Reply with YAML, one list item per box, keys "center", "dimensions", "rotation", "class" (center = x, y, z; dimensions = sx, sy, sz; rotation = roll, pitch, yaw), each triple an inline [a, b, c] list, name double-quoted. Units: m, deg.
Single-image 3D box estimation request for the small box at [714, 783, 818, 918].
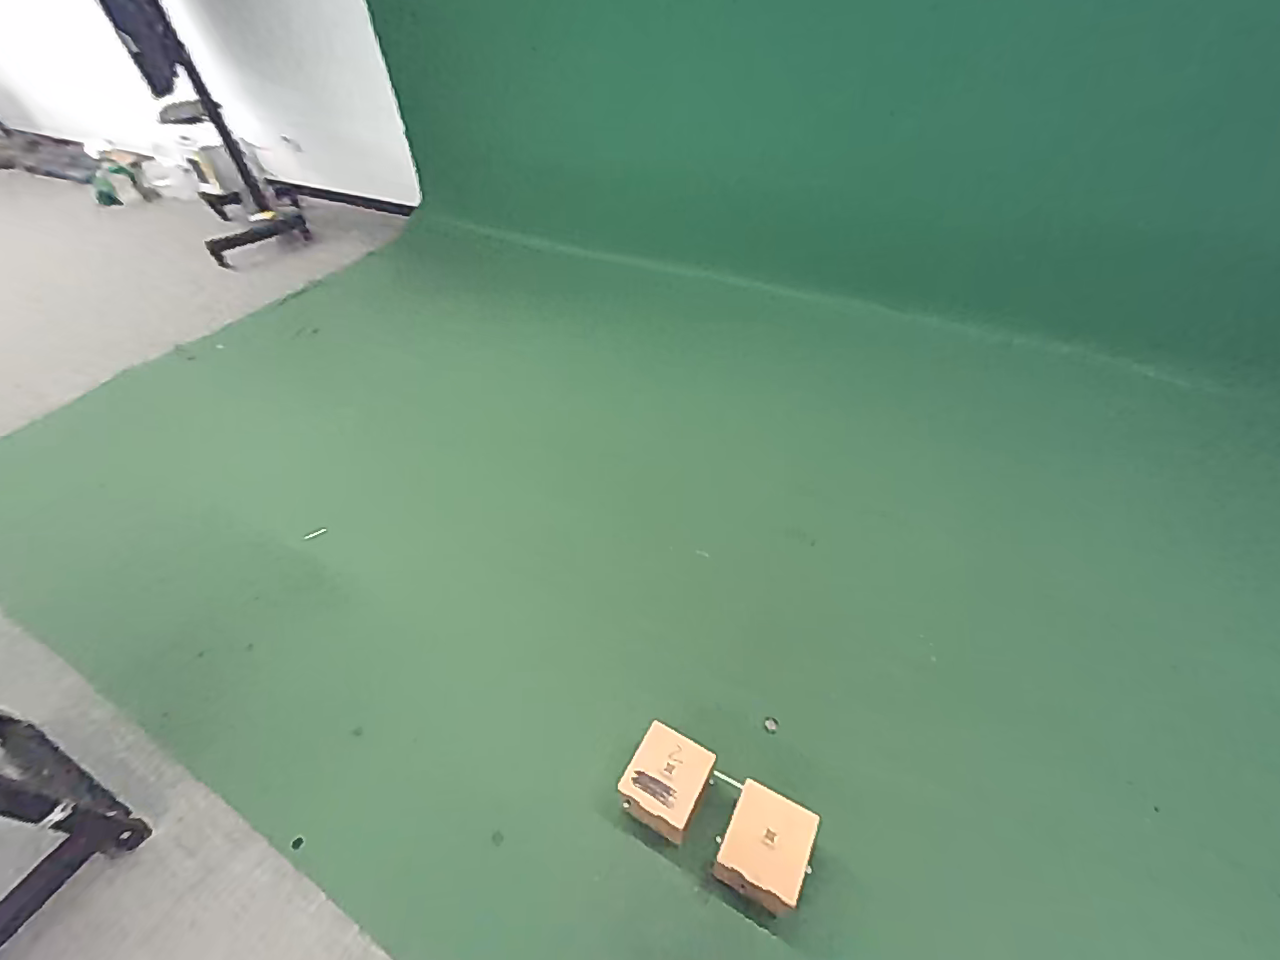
- center: [0.267, 0.807, 1.179]
  dimensions: [0.168, 0.176, 0.179]
  rotation: [21, 51, 21]
  class: "small box"
